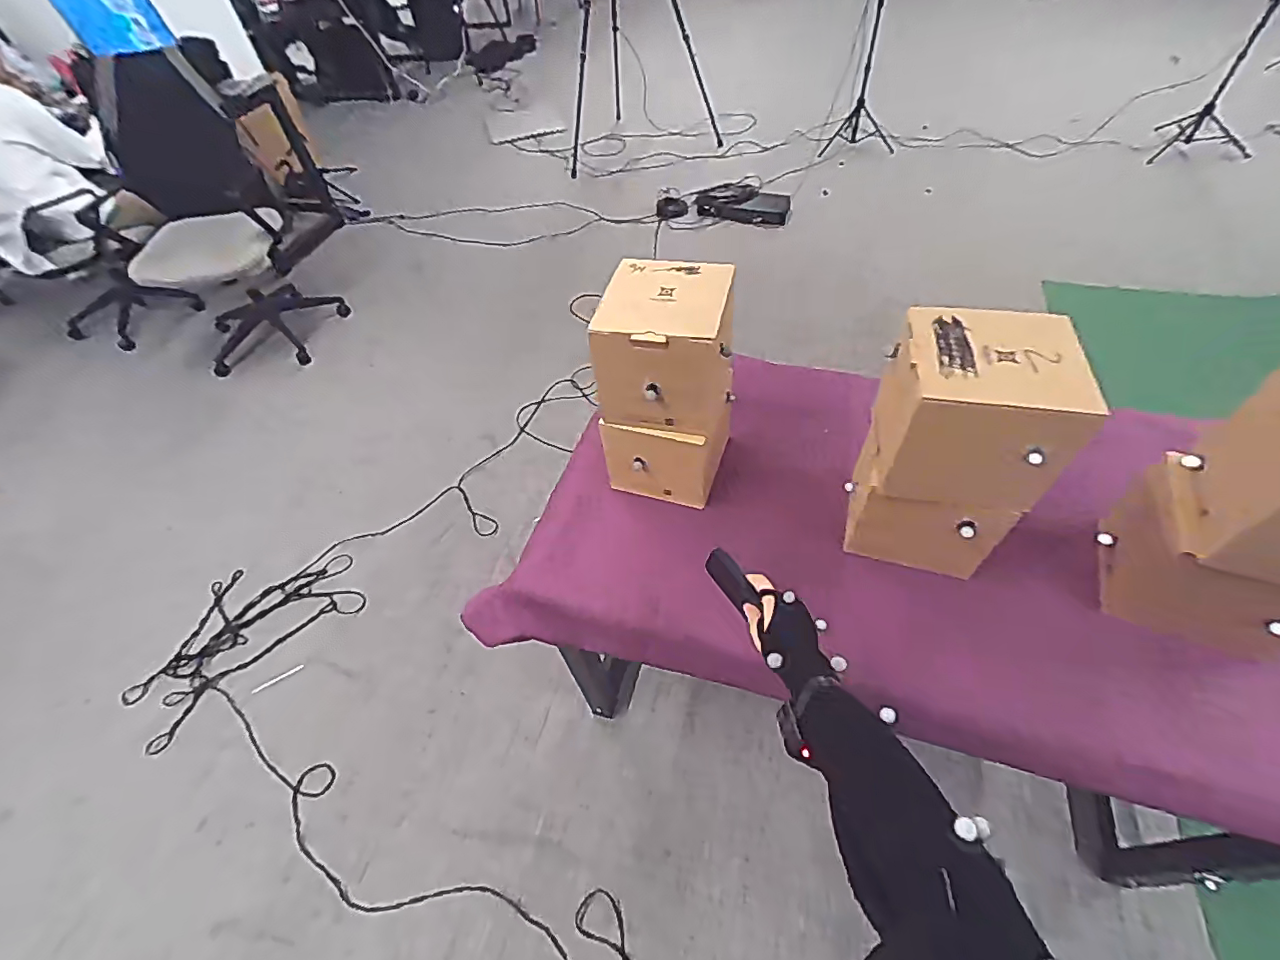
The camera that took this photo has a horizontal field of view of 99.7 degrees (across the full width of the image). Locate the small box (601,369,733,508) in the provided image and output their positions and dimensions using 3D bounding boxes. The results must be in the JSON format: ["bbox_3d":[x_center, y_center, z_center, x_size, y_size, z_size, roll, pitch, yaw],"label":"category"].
[{"bbox_3d":[0.053,-0.078,0.899,0.168,0.176,0.179,13,54,16],"label":"small box"}]

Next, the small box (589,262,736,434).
[{"bbox_3d":[0.041,-0.187,0.776,0.168,0.176,0.179,9,53,12],"label":"small box"}]

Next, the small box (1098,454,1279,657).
[{"bbox_3d":[0.728,0.100,0.681,0.179,0.176,0.168,18,55,20],"label":"small box"}]

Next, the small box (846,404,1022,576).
[{"bbox_3d":[0.413,0.018,0.780,0.179,0.176,0.168,12,53,16],"label":"small box"}]

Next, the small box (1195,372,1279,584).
[{"bbox_3d":[0.718,0.011,0.544,0.179,0.176,0.168,18,55,19],"label":"small box"}]
